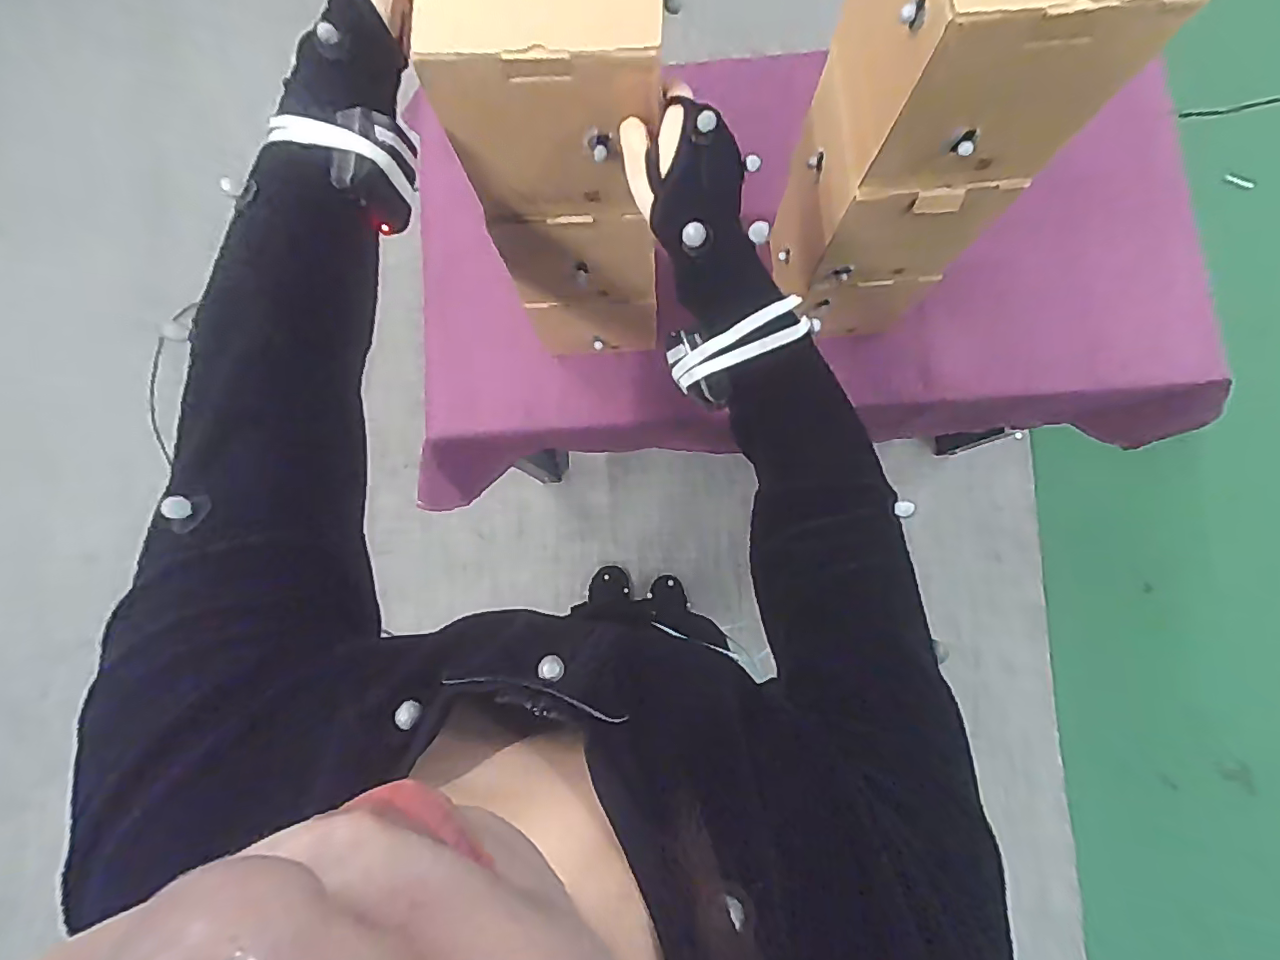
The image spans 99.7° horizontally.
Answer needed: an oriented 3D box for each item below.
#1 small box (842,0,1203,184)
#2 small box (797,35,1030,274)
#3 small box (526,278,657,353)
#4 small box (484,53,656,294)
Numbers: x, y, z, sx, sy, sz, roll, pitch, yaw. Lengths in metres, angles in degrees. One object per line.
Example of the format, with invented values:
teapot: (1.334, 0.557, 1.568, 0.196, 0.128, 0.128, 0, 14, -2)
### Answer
small box: (0.277, -0.375, 0.434, 0.168, 0.176, 0.179, -5, 83, 1)
small box: (0.280, -0.344, 0.594, 0.168, 0.176, 0.179, -4, 81, 1)
small box: (-0.061, -0.295, 0.764, 0.168, 0.176, 0.179, -2, 82, 2)
small box: (-0.067, -0.321, 0.602, 0.168, 0.176, 0.179, -2, 83, 1)
